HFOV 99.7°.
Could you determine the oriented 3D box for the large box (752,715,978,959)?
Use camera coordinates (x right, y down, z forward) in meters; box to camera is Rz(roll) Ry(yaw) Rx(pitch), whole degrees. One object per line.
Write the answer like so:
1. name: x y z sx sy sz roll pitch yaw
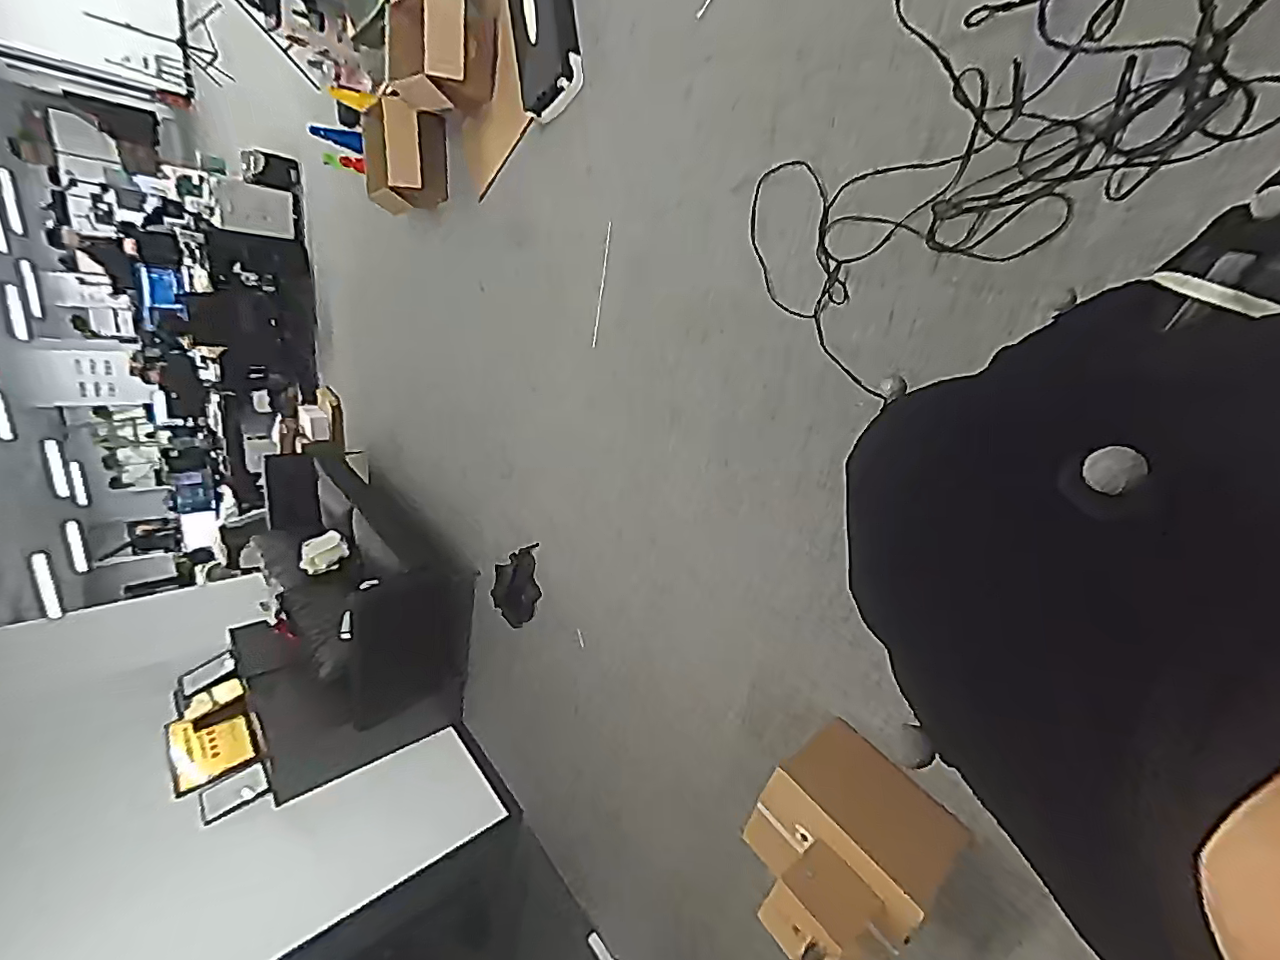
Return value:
1. large box: 0.582 0.927 1.434 0.408 0.320 0.320 37 123 39
